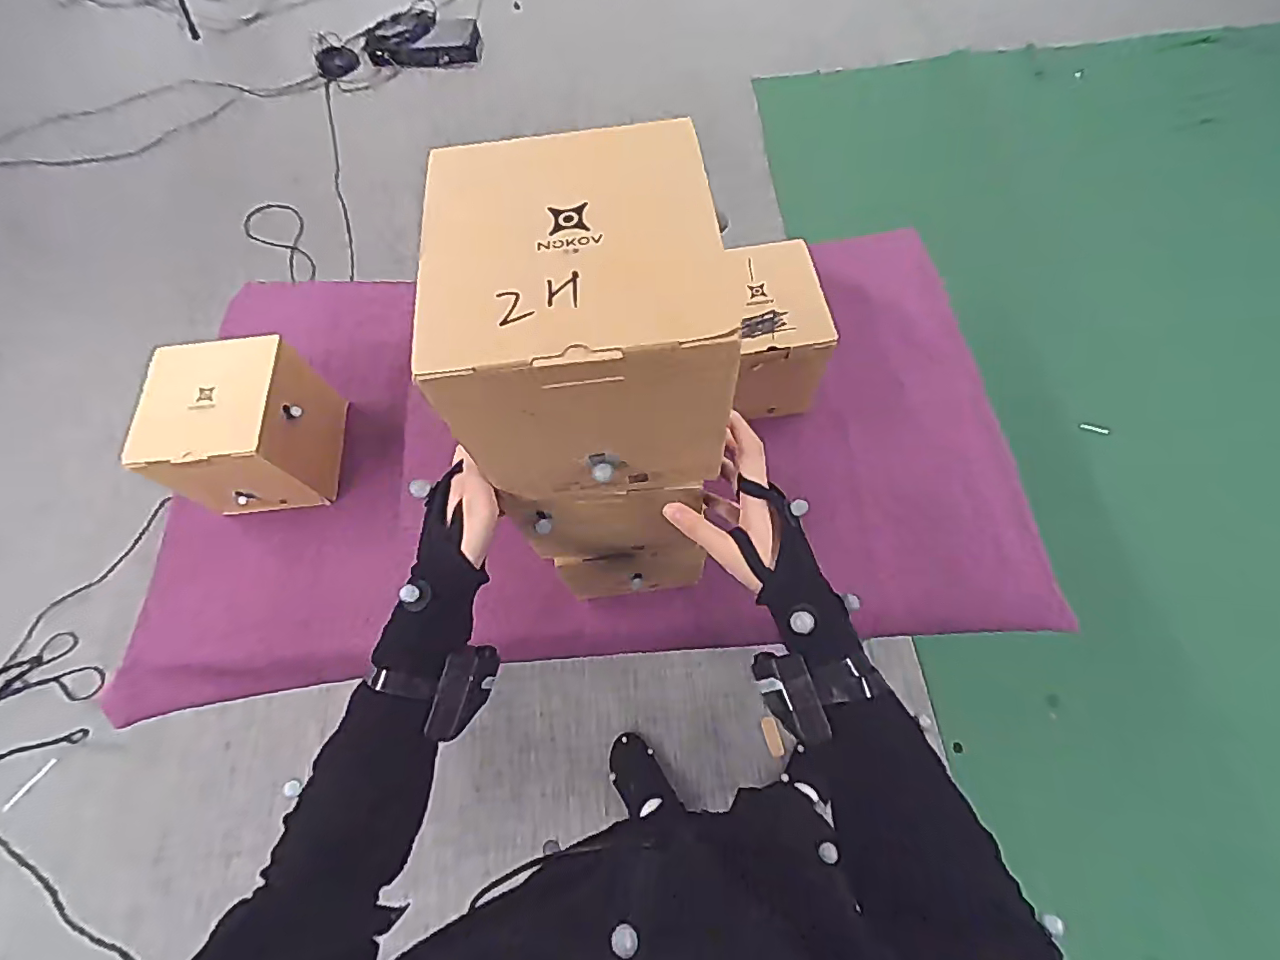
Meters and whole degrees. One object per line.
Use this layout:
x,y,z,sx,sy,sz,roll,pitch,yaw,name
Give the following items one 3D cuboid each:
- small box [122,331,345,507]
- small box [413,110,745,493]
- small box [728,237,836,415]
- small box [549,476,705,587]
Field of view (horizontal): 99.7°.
-0.536,-0.078,0.745,0.168,0.176,0.179,-6,67,0,small box
-0.033,-0.109,0.370,0.168,0.176,0.179,-7,65,1,small box
0.155,-0.204,0.761,0.168,0.176,0.179,-7,66,0,small box
-0.015,0.029,0.668,0.168,0.176,0.179,-7,66,0,small box
